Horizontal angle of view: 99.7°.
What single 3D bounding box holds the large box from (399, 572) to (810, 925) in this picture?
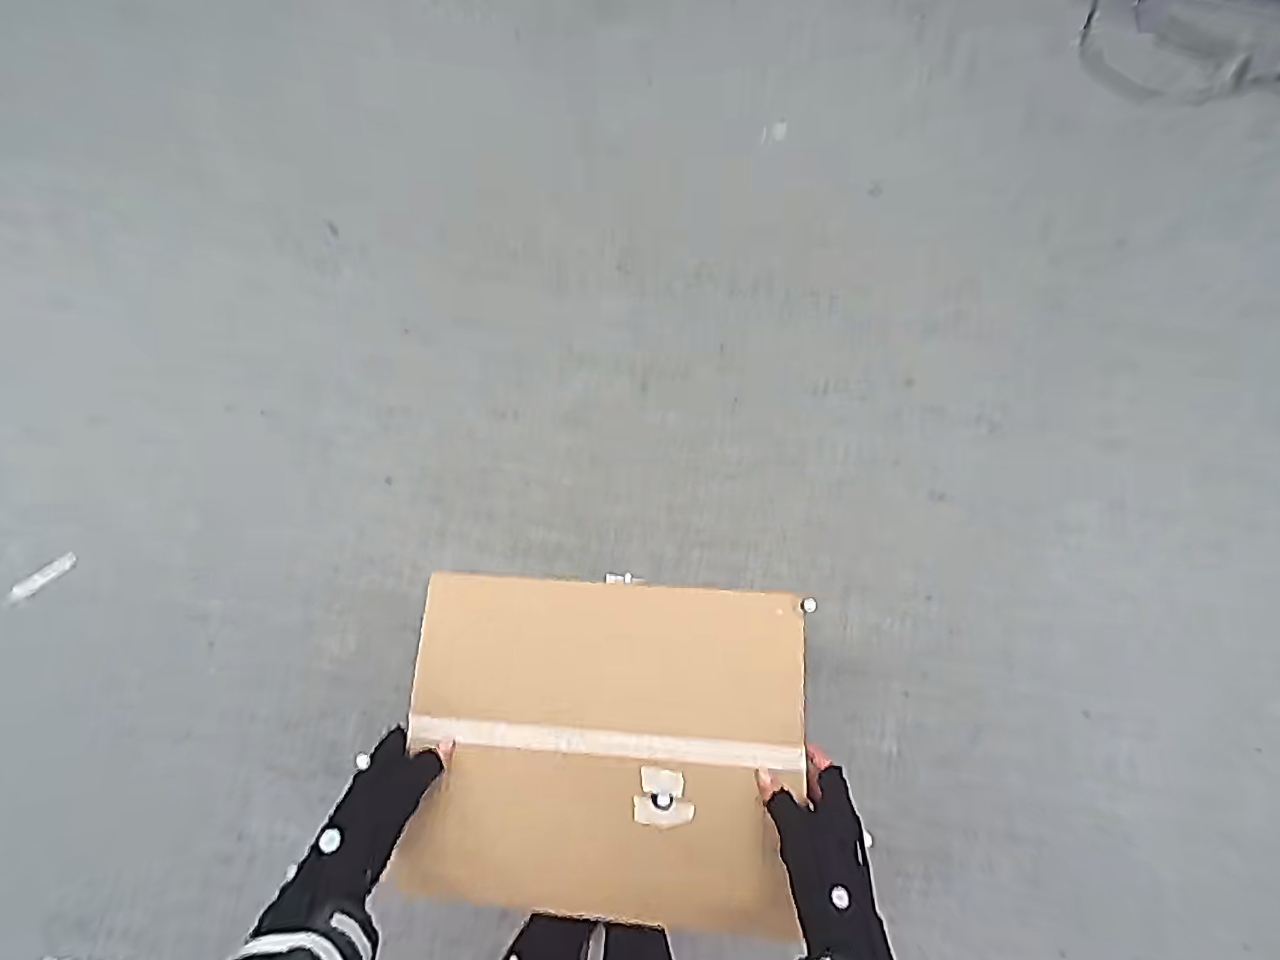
[{"bbox_3d":[-0.024,0.293,0.692,0.408,0.320,0.320,2,78,5],"label":"large box"}]
